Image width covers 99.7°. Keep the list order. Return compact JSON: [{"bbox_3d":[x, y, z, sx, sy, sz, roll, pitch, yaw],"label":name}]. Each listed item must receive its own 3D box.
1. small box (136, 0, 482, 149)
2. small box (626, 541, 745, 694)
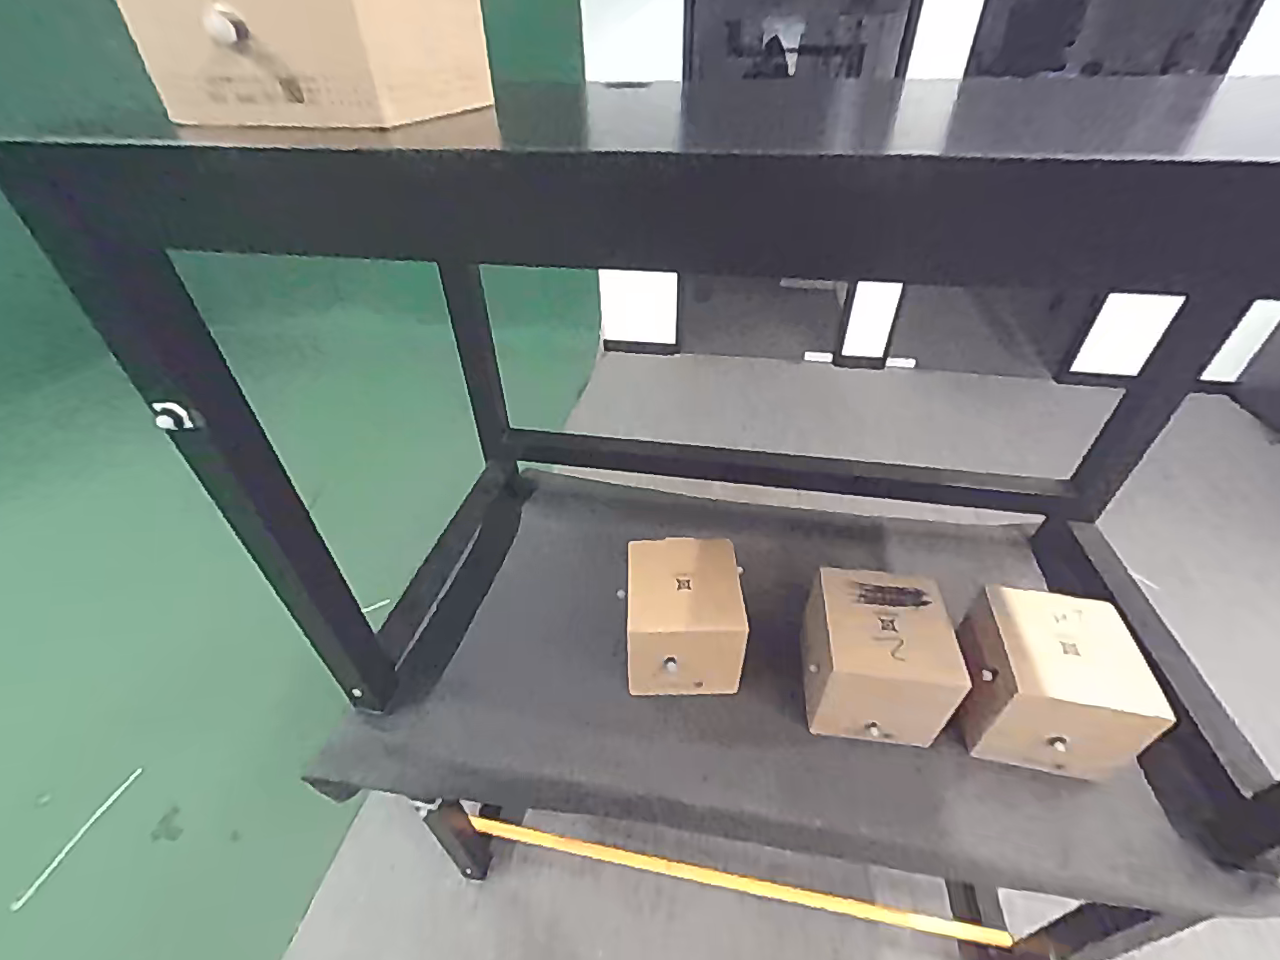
[{"bbox_3d":[-0.227,-0.347,0.383,0.168,0.176,0.179,6,40,9],"label":"small box"},{"bbox_3d":[0.065,0.216,0.843,0.168,0.176,0.179,-1,38,0],"label":"small box"}]
